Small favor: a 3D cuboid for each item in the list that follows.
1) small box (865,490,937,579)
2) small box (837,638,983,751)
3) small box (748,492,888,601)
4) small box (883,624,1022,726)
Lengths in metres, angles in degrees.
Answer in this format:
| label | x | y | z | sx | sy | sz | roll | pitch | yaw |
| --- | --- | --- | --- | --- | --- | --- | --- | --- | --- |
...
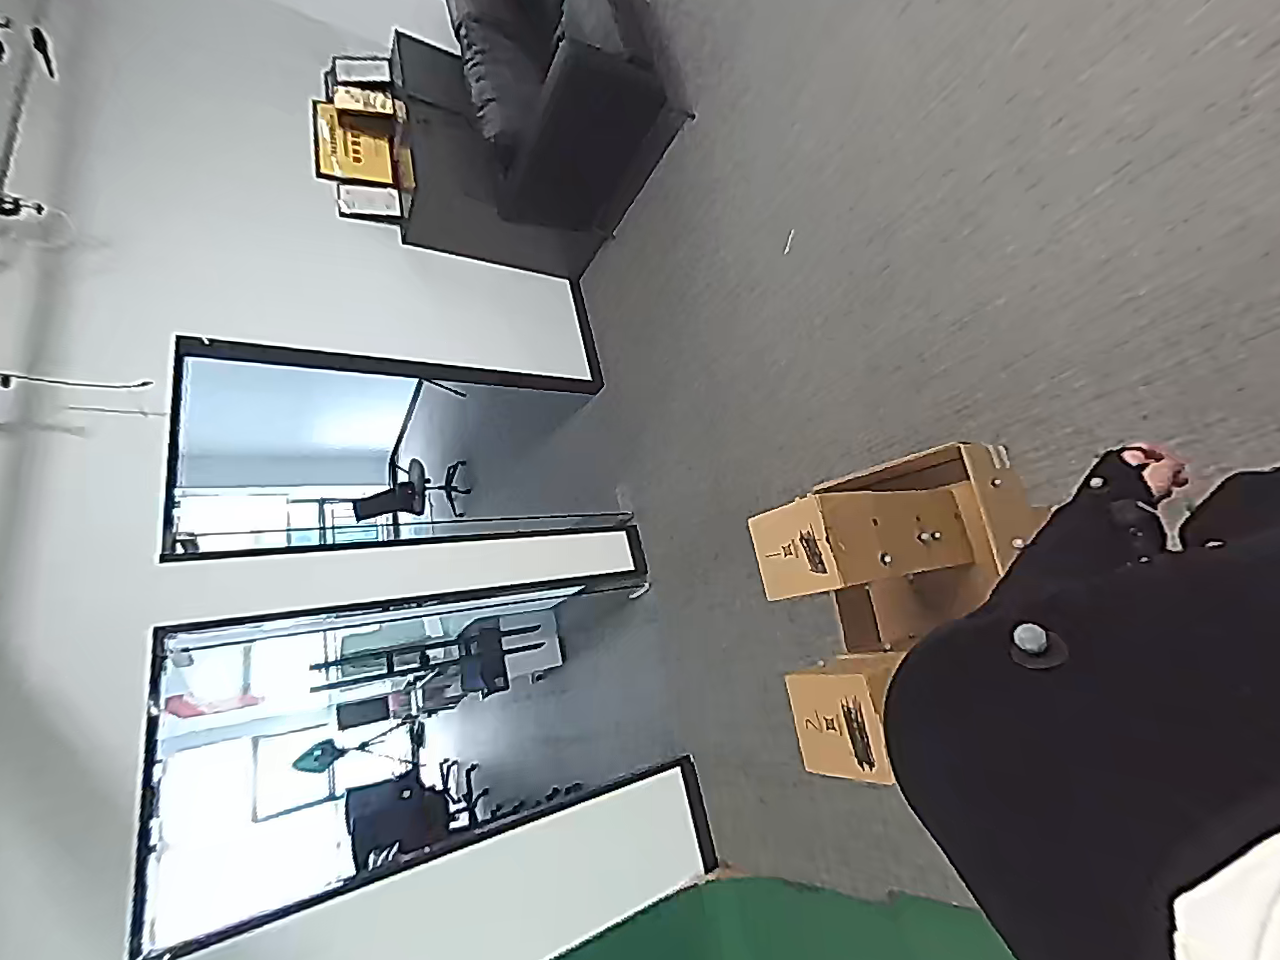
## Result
| label | x | y | z | sx | sy | sz | roll | pitch | yaw |
| --- | --- | --- | --- | --- | --- | --- | --- | --- | --- |
| small box | 0.470 | 0.122 | 1.117 | 0.179 | 0.176 | 0.168 | -29 | 68 | 51 |
| small box | 0.521 | 0.407 | 1.051 | 0.179 | 0.176 | 0.168 | -26 | 70 | 52 |
| small box | 0.339 | 0.123 | 1.020 | 0.179 | 0.176 | 0.168 | -31 | 67 | 52 |
| small box | 0.655 | 0.403 | 1.140 | 0.179 | 0.176 | 0.168 | -27 | 69 | 53 |
